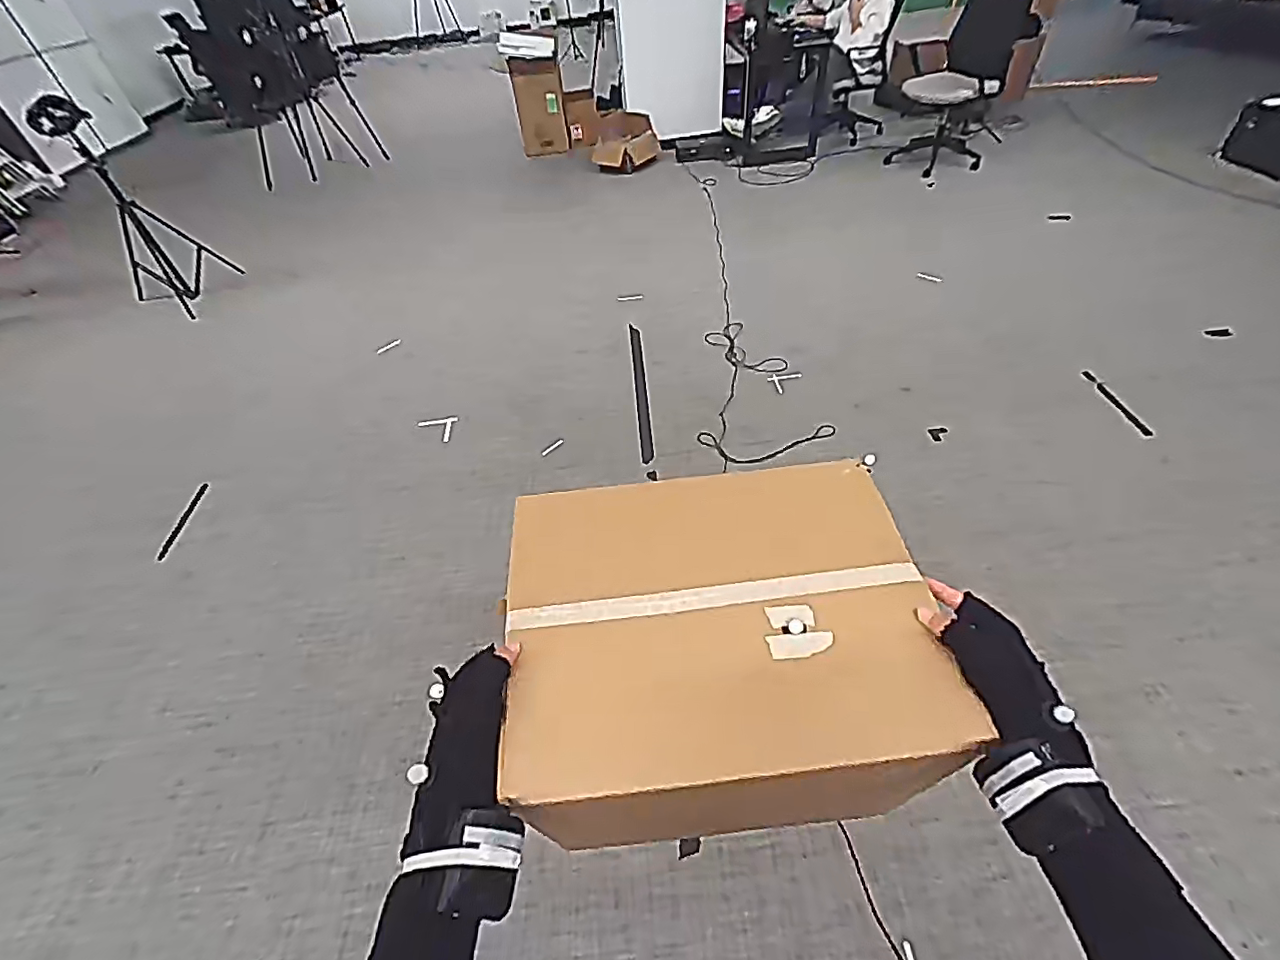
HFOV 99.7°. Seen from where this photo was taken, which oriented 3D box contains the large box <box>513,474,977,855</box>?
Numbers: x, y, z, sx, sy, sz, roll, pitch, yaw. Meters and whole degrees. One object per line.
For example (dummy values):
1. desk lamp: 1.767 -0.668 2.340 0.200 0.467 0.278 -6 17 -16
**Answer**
1. large box: 0.081 0.227 0.656 0.408 0.320 0.320 -6 50 -1
